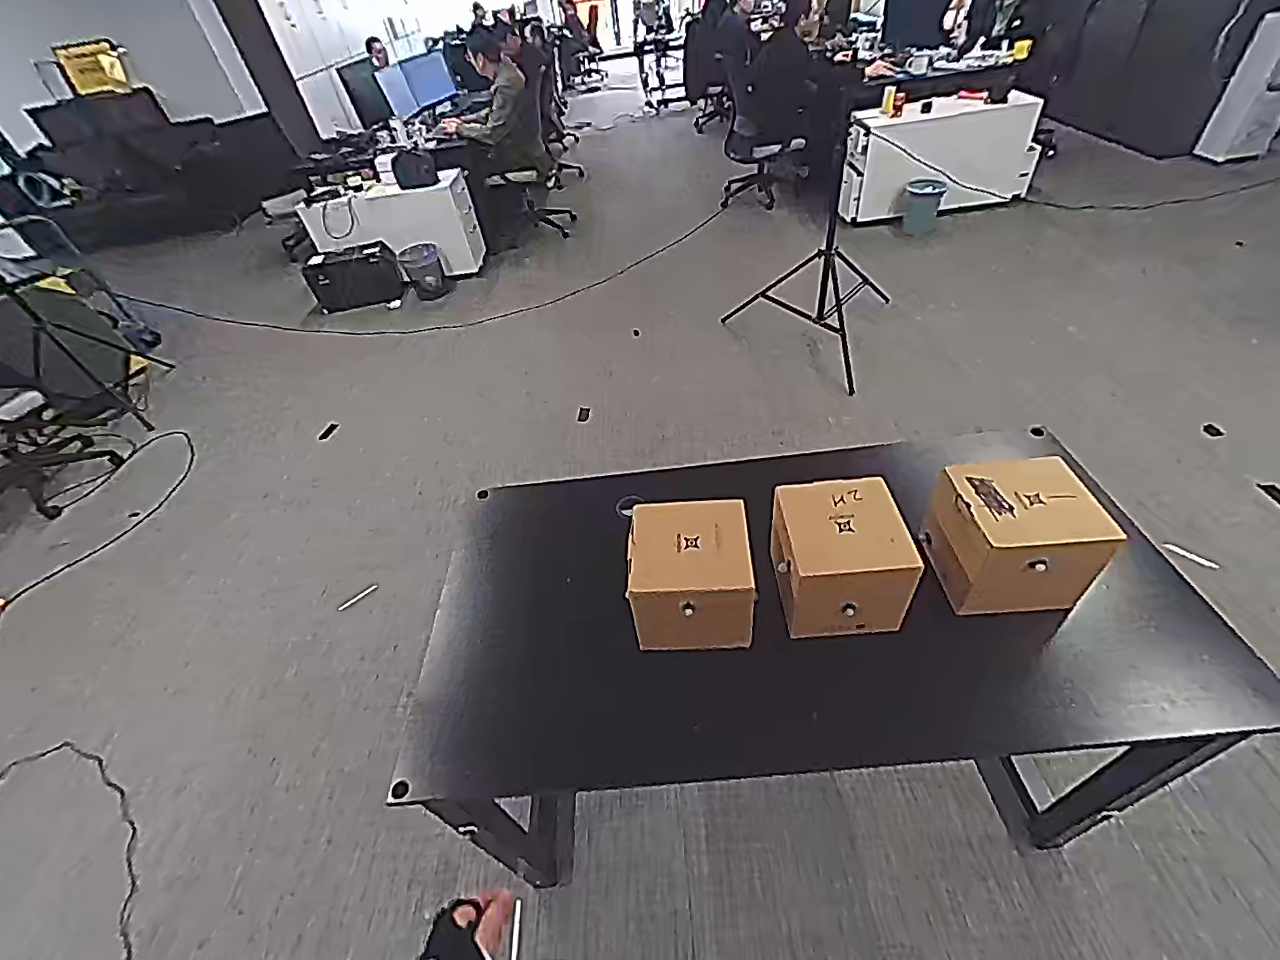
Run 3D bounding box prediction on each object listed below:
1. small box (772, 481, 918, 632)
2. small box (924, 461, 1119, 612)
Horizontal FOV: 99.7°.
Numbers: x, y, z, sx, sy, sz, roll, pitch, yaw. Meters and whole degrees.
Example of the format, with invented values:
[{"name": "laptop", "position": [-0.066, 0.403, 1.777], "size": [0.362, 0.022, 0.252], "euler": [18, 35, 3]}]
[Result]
[{"name": "small box", "position": [0.307, 0.126, 0.849], "size": [0.168, 0.176, 0.179], "euler": [-5, 44, 4]}, {"name": "small box", "position": [0.565, 0.091, 0.839], "size": [0.179, 0.176, 0.168], "euler": [-5, 44, 4]}]
